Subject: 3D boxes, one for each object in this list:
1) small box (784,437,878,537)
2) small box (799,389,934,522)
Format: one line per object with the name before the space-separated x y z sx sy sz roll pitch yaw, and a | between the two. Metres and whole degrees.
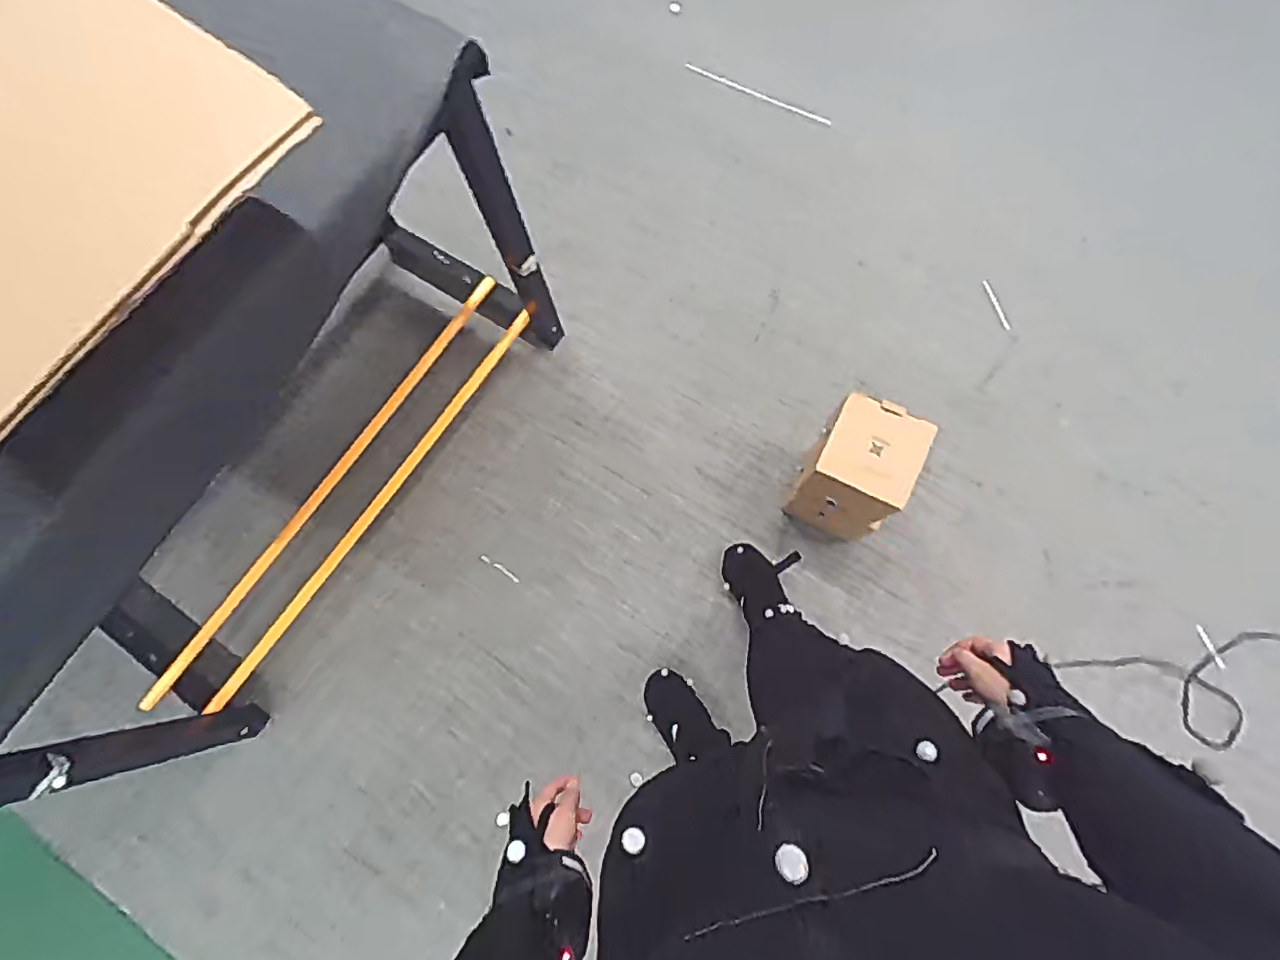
small box | 0.440 0.012 1.200 0.179 0.176 0.168 26 78 10
small box | 0.425 -0.040 1.045 0.168 0.176 0.179 25 79 10
